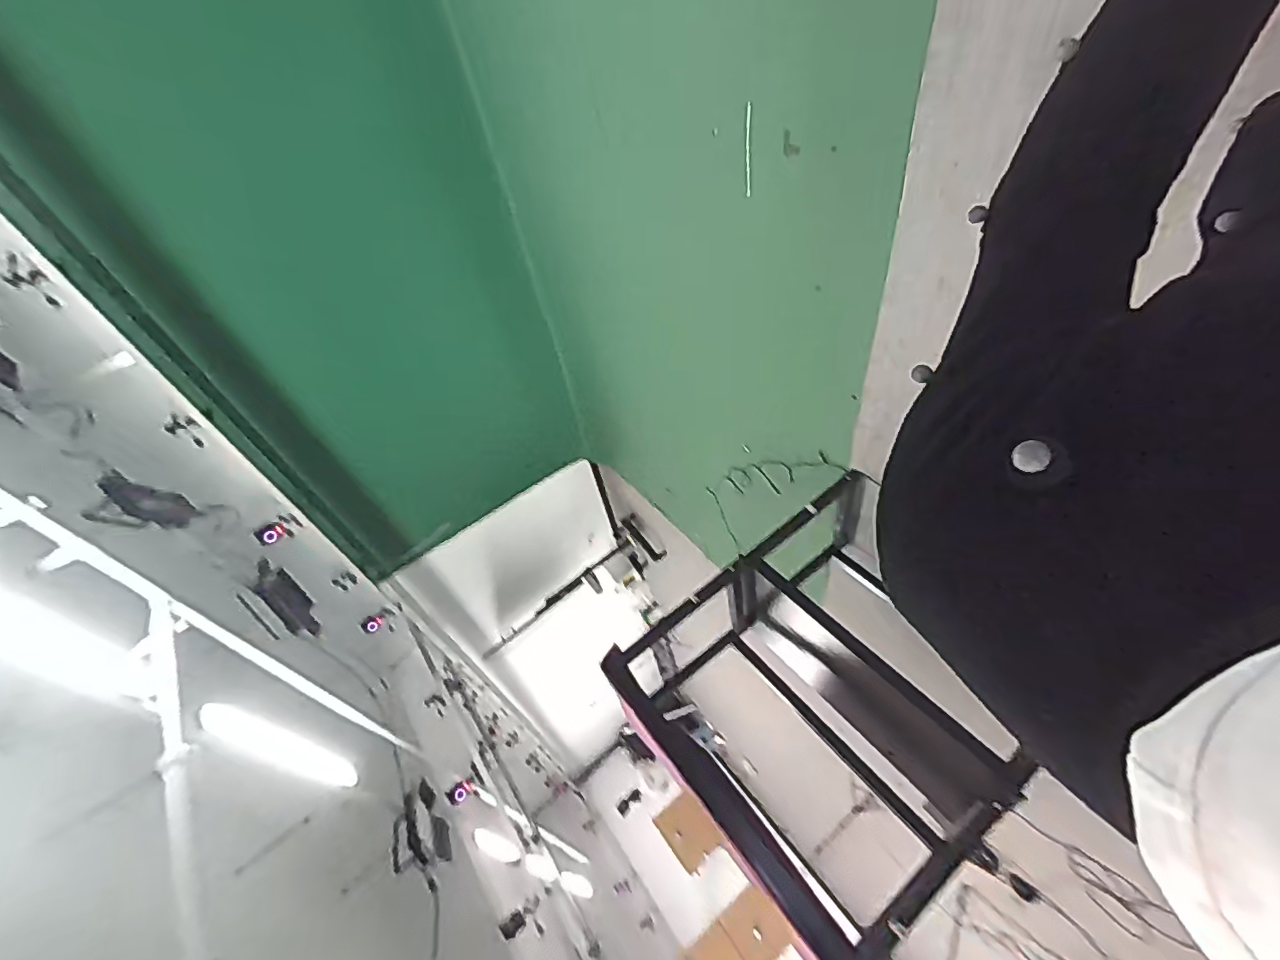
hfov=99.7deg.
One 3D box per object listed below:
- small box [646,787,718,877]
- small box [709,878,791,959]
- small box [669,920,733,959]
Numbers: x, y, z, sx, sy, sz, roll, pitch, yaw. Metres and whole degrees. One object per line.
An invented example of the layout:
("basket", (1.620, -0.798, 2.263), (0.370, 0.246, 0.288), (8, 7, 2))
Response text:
("small box", (0.147, 1.168, 1.800), (0.179, 0.176, 0.168), (42, 157, 39))
("small box", (0.330, 1.336, 1.604), (0.179, 0.176, 0.168), (41, 156, 40))
("small box", (0.201, 1.424, 1.557), (0.179, 0.176, 0.168), (43, 158, 41))
